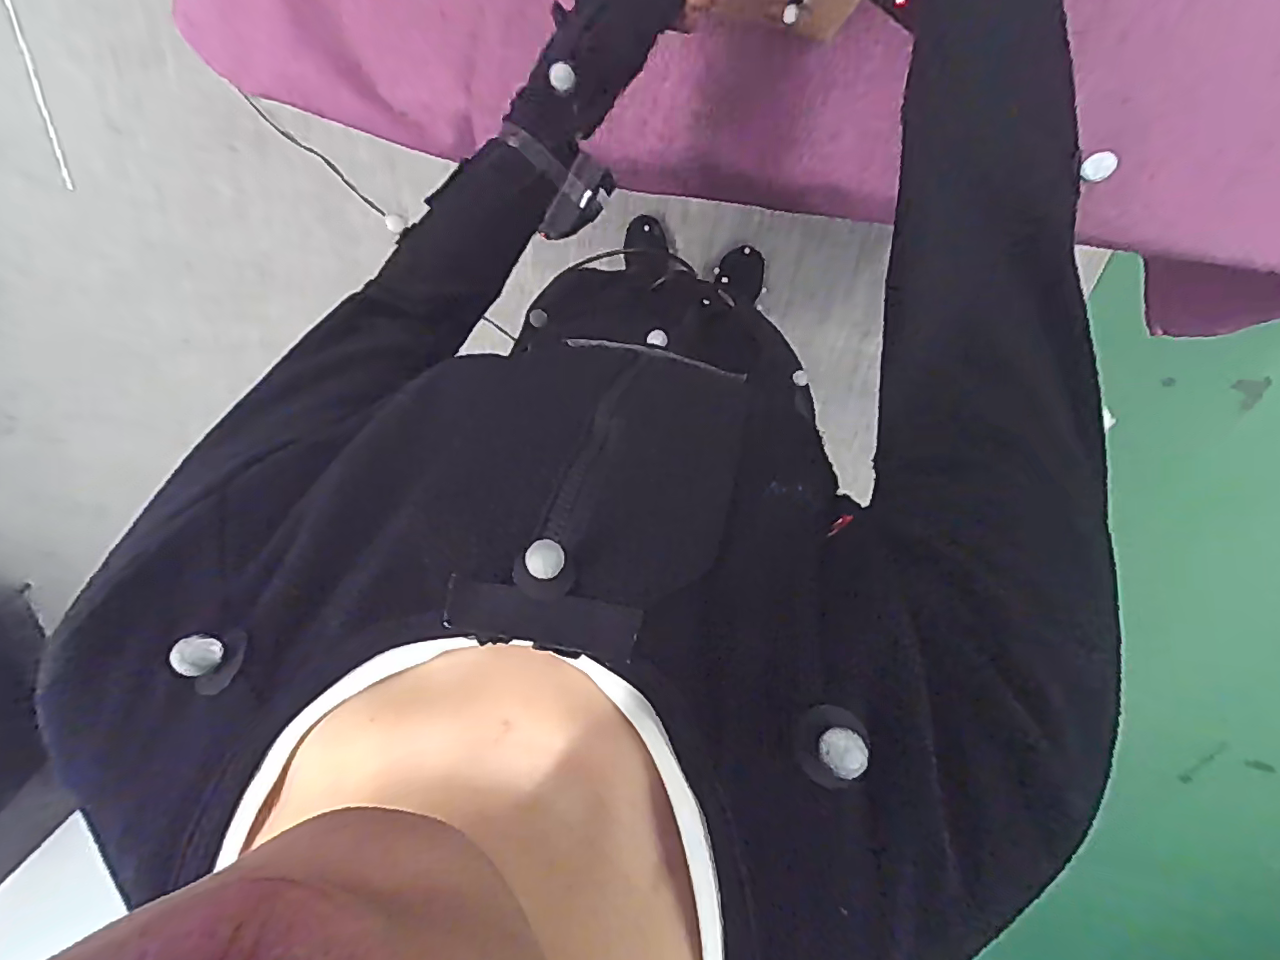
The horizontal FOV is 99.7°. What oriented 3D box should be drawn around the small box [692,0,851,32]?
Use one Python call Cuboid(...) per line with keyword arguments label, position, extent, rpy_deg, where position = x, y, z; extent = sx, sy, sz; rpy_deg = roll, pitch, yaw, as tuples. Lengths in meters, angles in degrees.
Cuboid(label="small box", position=(0.110, -0.471, 0.399), extent=(0.168, 0.176, 0.179), rpy_deg=(13, 118, 0))
